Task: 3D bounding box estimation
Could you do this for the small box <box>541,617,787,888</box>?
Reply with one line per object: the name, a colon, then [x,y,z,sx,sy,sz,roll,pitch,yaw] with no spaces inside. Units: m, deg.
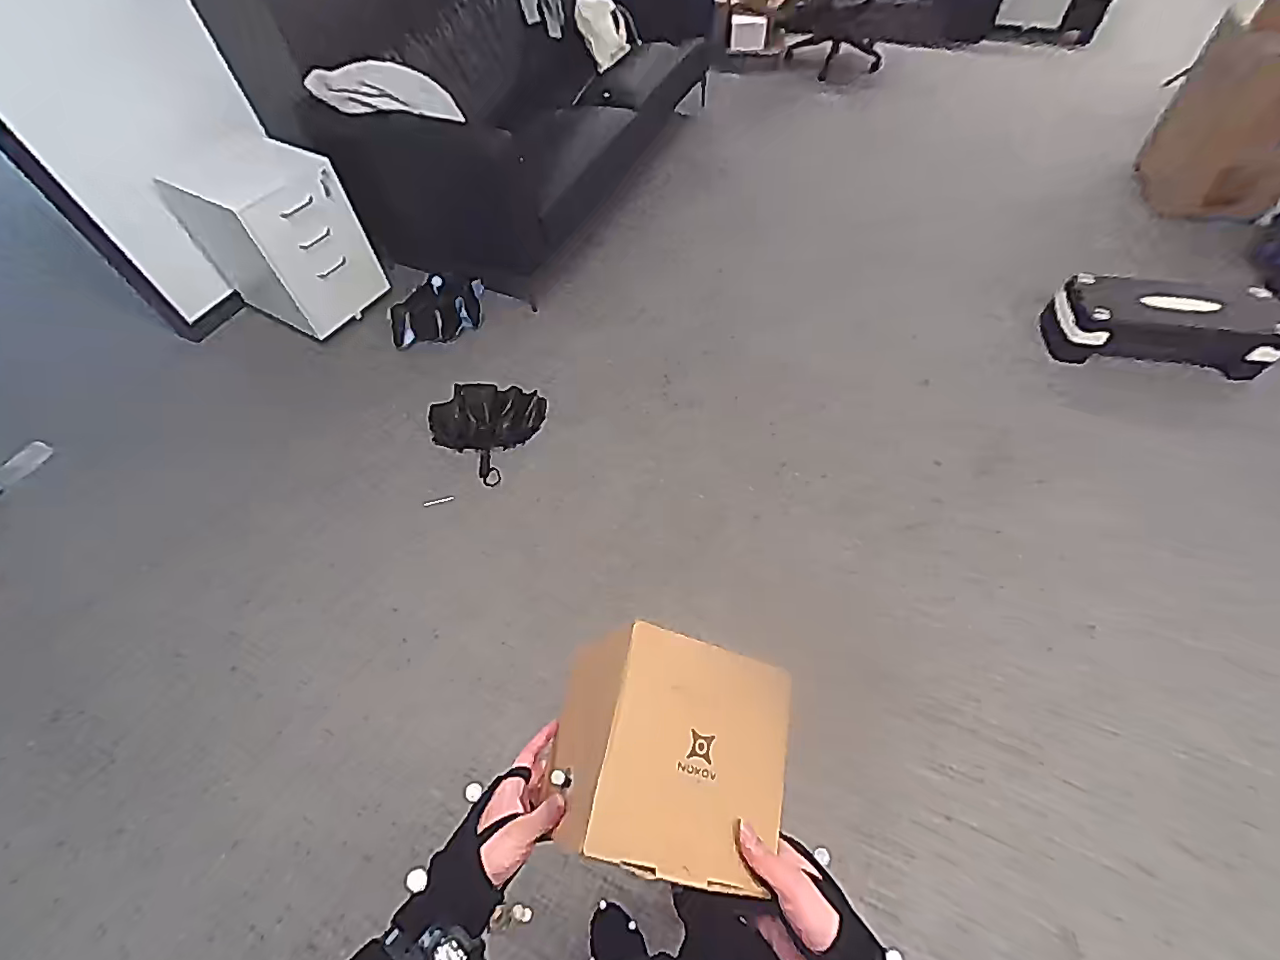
small box: [0.017,0.254,0.519,0.168,0.176,0.179,23,58,-15]
